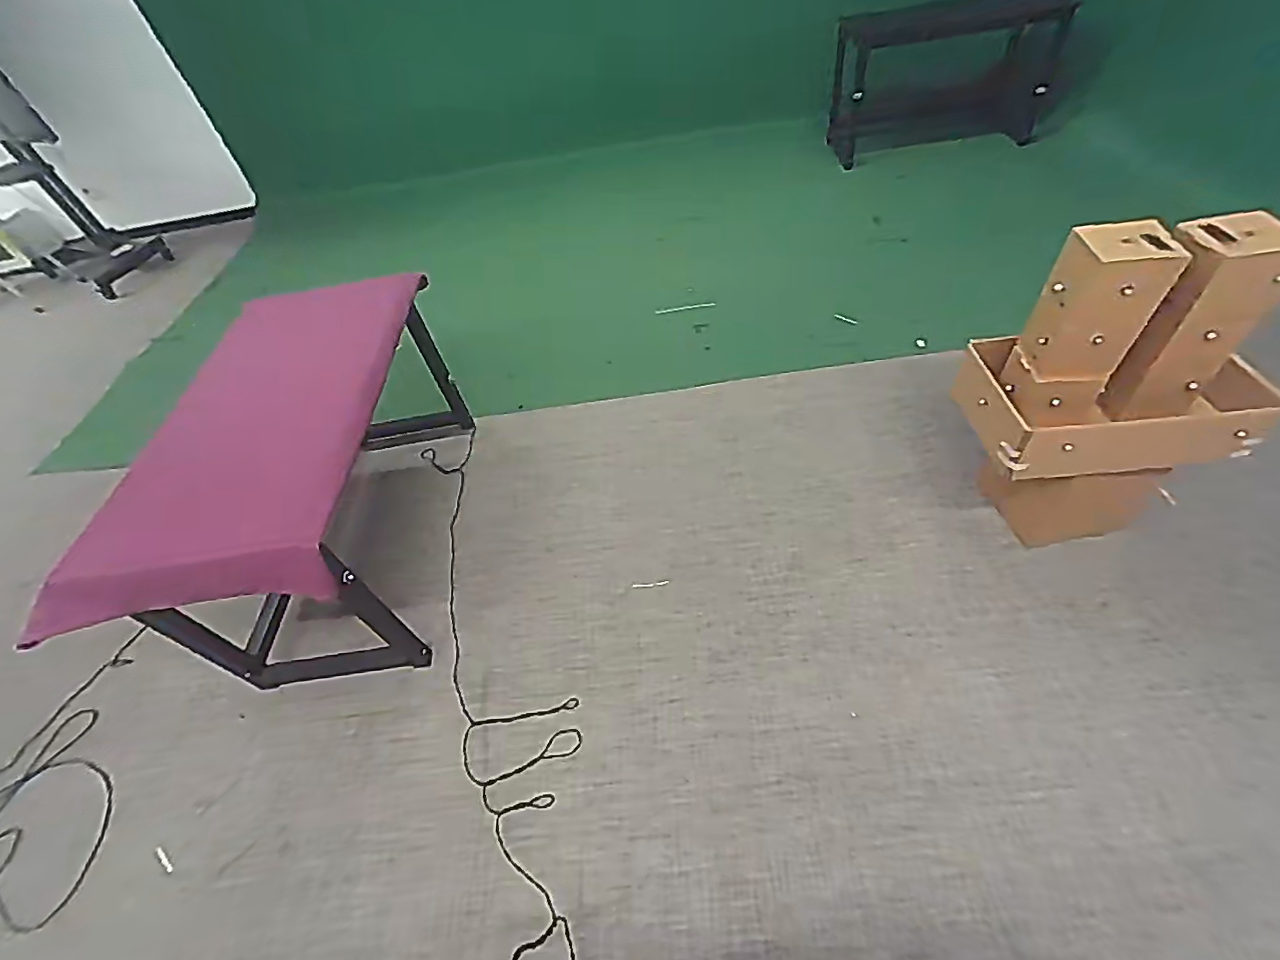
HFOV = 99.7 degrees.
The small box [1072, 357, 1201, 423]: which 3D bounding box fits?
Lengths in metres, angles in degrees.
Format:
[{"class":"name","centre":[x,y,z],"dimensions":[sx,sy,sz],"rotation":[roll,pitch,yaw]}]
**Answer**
[{"class":"small box","centre":[1.377,-0.280,1.515],"dimensions":[0.179,0.176,0.168],"rotation":[-6,49,6]}]

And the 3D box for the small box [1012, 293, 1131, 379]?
[{"class":"small box","centre":[1.119,-0.380,1.427],"dimensions":[0.179,0.176,0.168],"rotation":[0,50,8]}]

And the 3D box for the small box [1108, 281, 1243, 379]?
[{"class":"small box","centre":[1.350,-0.383,1.395],"dimensions":[0.179,0.176,0.168],"rotation":[-8,50,6]}]

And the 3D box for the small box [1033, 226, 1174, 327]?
[{"class":"small box","centre":[1.101,-0.486,1.303],"dimensions":[0.179,0.176,0.168],"rotation":[-1,50,9]}]
